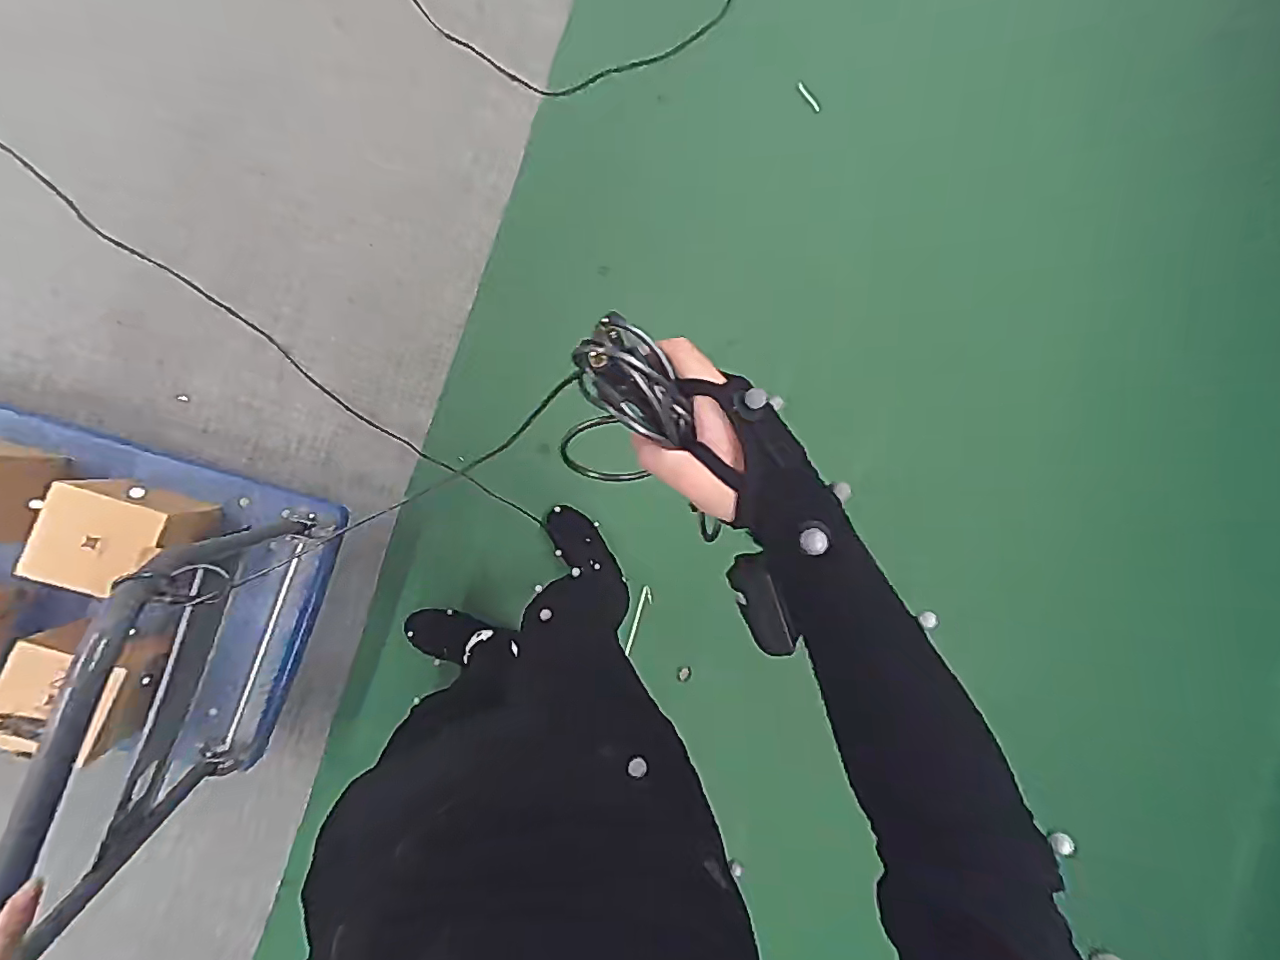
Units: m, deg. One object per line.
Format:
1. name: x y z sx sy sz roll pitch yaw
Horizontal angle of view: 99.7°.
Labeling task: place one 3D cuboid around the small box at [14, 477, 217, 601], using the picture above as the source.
1. small box: -0.927 0.100 0.976 0.179 0.176 0.168 21 87 -13

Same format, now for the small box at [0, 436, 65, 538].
1. small box: -1.166 0.006 0.917 0.179 0.176 0.168 18 88 -14

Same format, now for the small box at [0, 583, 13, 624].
1. small box: -1.239 0.251 0.905 0.179 0.176 0.168 16 87 -13
